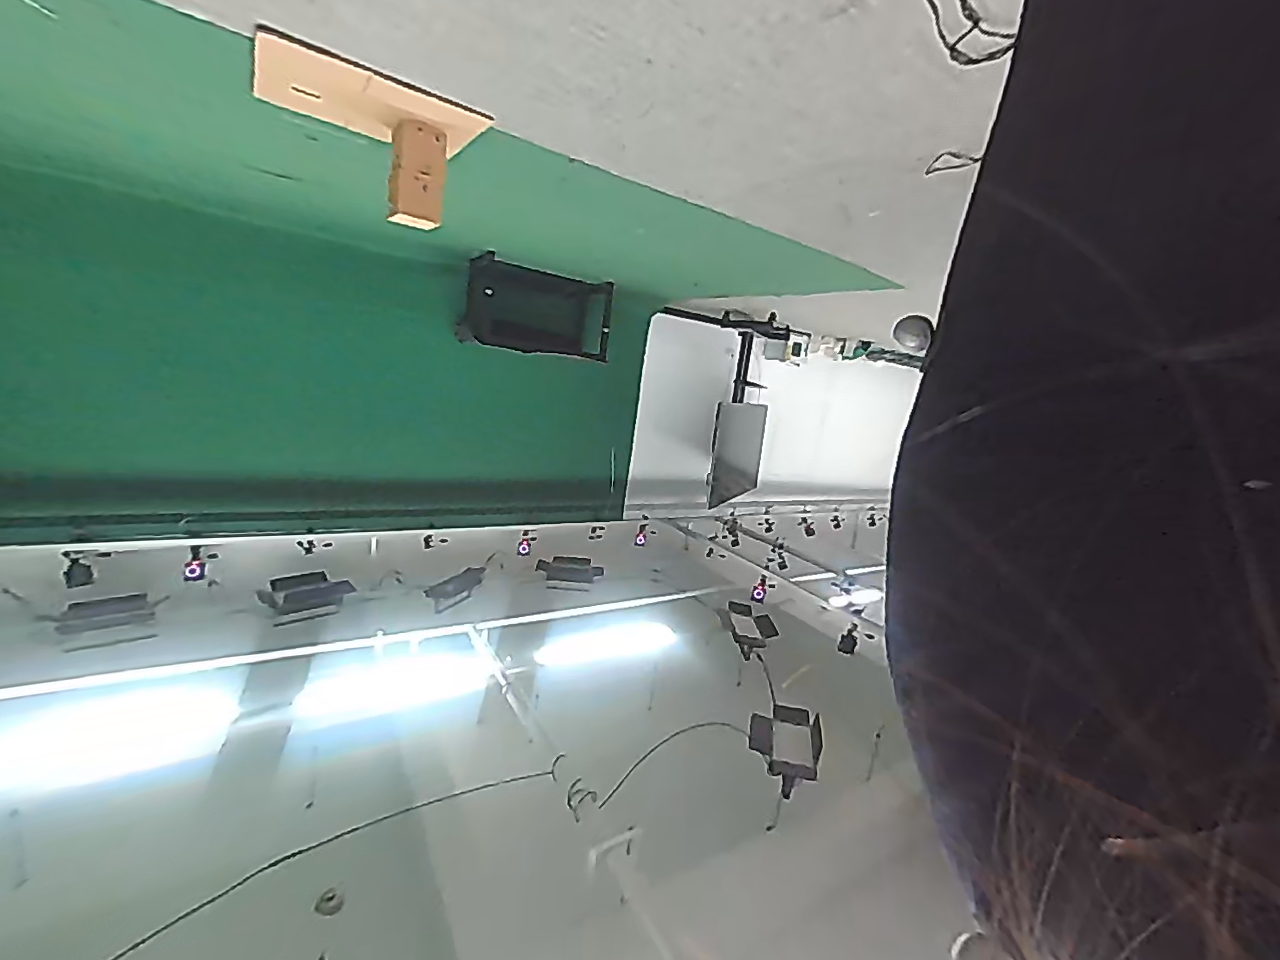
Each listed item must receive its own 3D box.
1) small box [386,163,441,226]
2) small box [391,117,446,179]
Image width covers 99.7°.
[{"bbox_3d":[-0.904,-1.136,2.159,0.168,0.176,0.179,-1,-166,-38],"label":"small box"},{"bbox_3d":[-0.870,-1.291,2.121,0.168,0.176,0.179,-1,-165,-37],"label":"small box"}]
